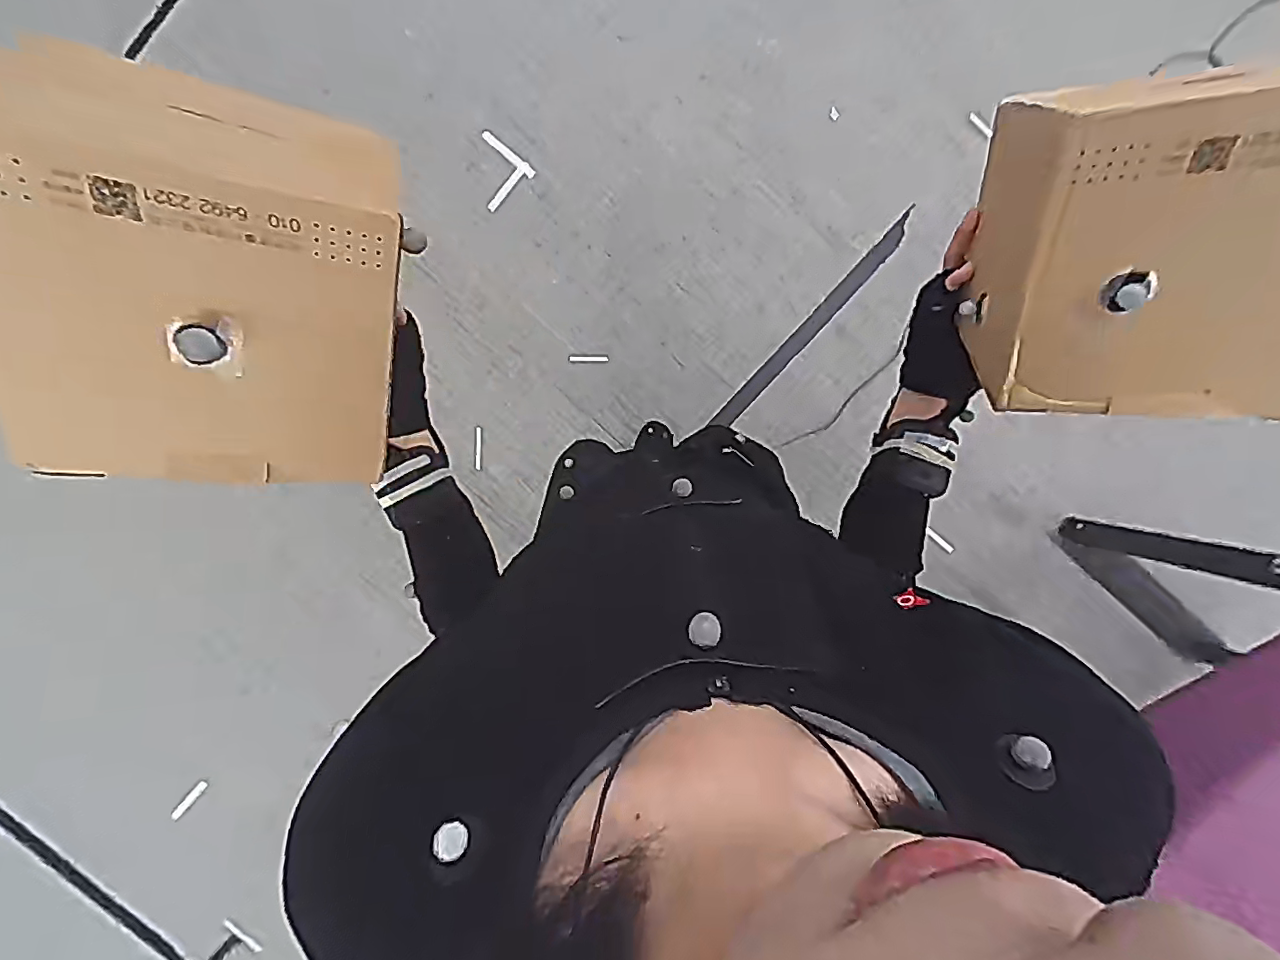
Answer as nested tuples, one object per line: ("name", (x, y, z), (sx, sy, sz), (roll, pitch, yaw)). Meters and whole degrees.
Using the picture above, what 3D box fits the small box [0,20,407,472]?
("small box", (-0.229, -0.125, 0.305), (0.168, 0.179, 0.176), (4, 127, -26))

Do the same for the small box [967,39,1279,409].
("small box", (0.324, -0.156, 0.330), (0.168, 0.179, 0.176), (6, 127, 18))
